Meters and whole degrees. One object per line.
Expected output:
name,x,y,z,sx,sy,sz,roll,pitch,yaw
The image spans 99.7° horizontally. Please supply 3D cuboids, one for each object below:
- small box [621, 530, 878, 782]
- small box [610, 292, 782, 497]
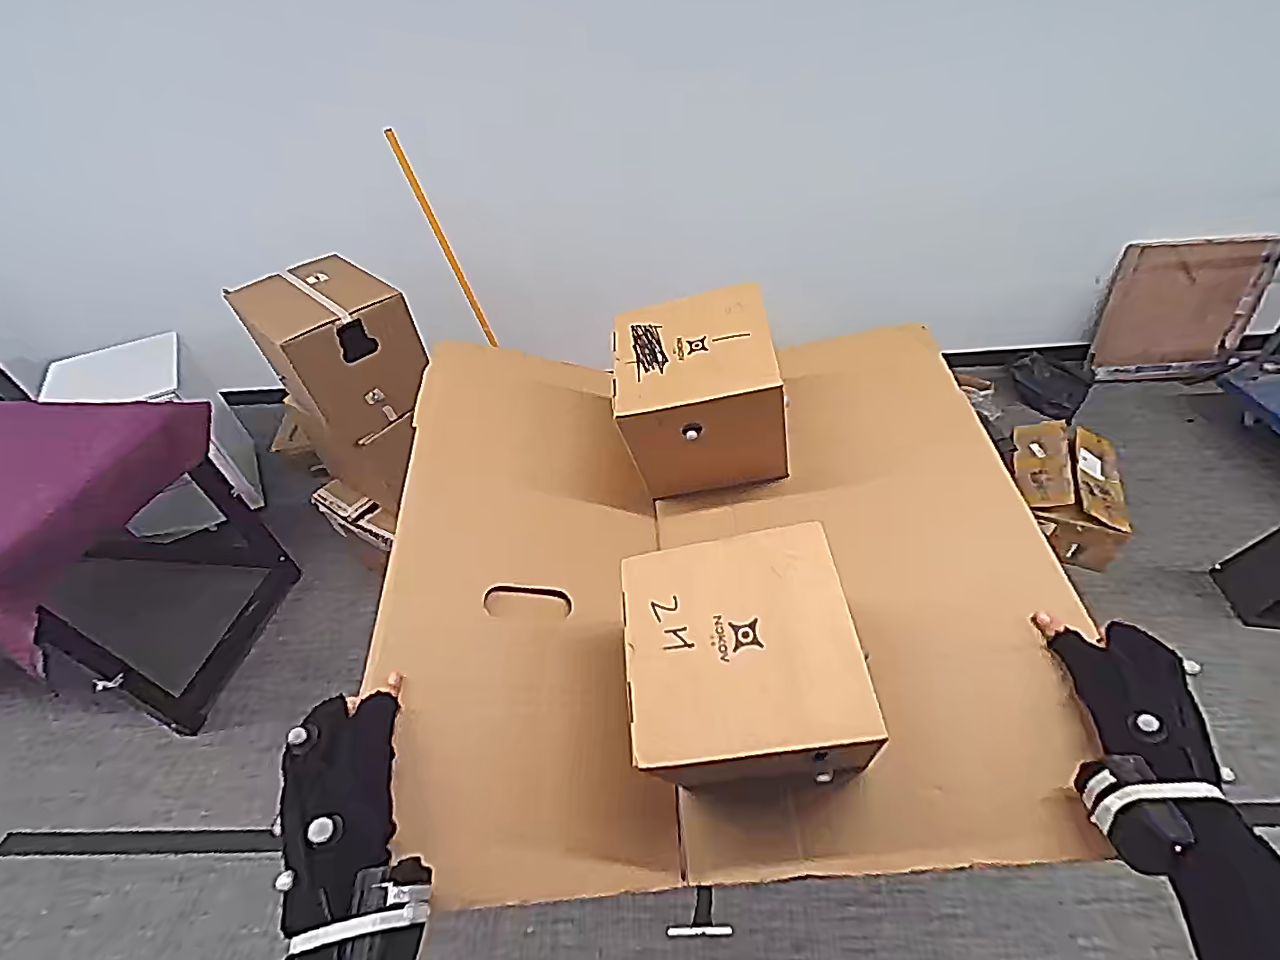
small box,0.093,0.166,0.485,0.179,0.176,0.168,-12,55,11
small box,0.071,-0.094,0.664,0.179,0.176,0.168,-10,55,11
